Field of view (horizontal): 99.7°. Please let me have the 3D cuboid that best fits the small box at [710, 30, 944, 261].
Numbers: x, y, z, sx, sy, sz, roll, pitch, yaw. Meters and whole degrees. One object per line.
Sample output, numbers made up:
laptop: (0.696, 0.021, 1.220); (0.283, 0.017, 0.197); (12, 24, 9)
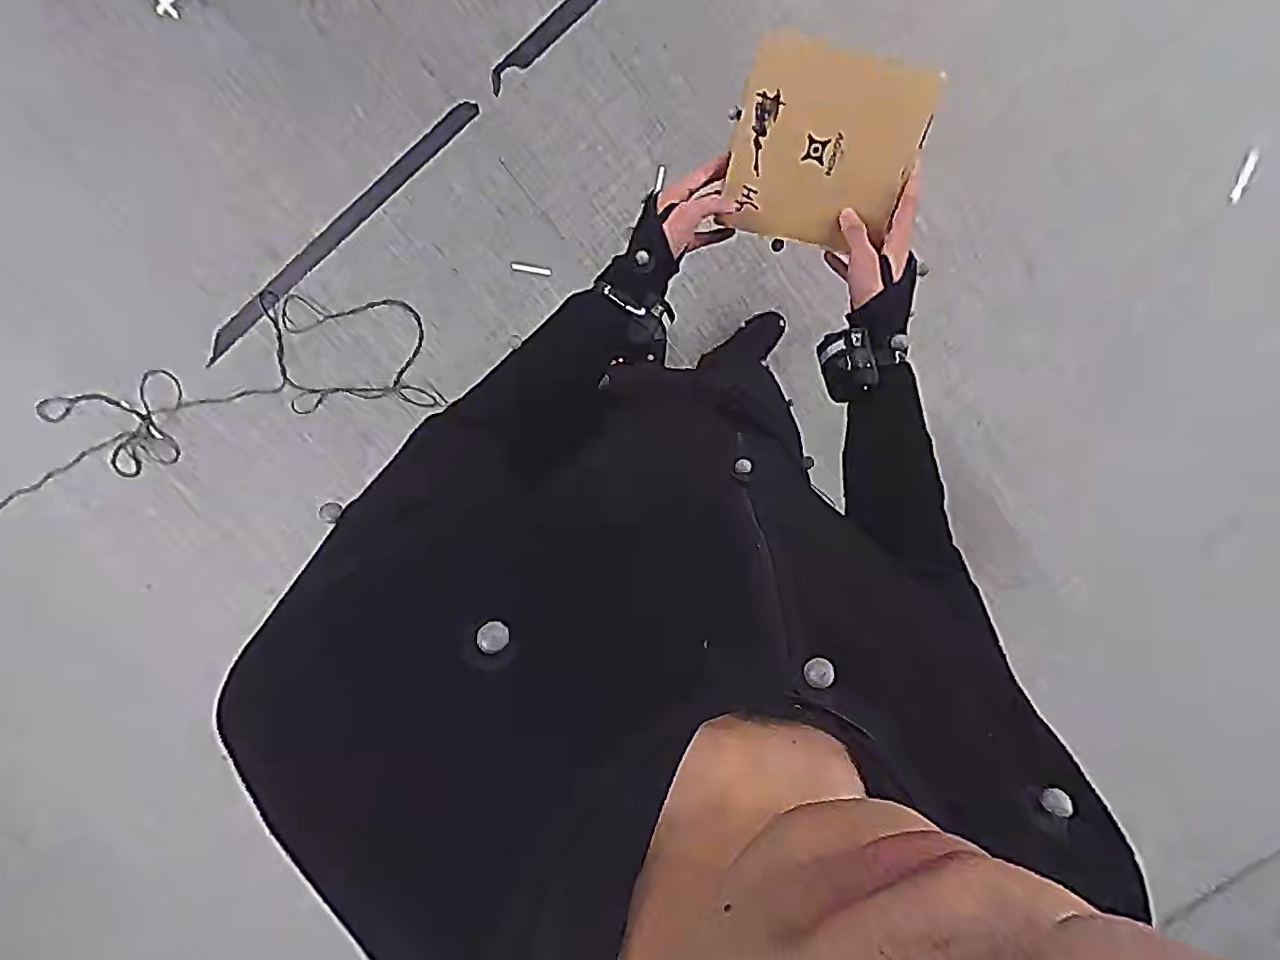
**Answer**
small box: (0.181, -0.352, 0.591); (0.179, 0.176, 0.168); (12, 118, 0)
